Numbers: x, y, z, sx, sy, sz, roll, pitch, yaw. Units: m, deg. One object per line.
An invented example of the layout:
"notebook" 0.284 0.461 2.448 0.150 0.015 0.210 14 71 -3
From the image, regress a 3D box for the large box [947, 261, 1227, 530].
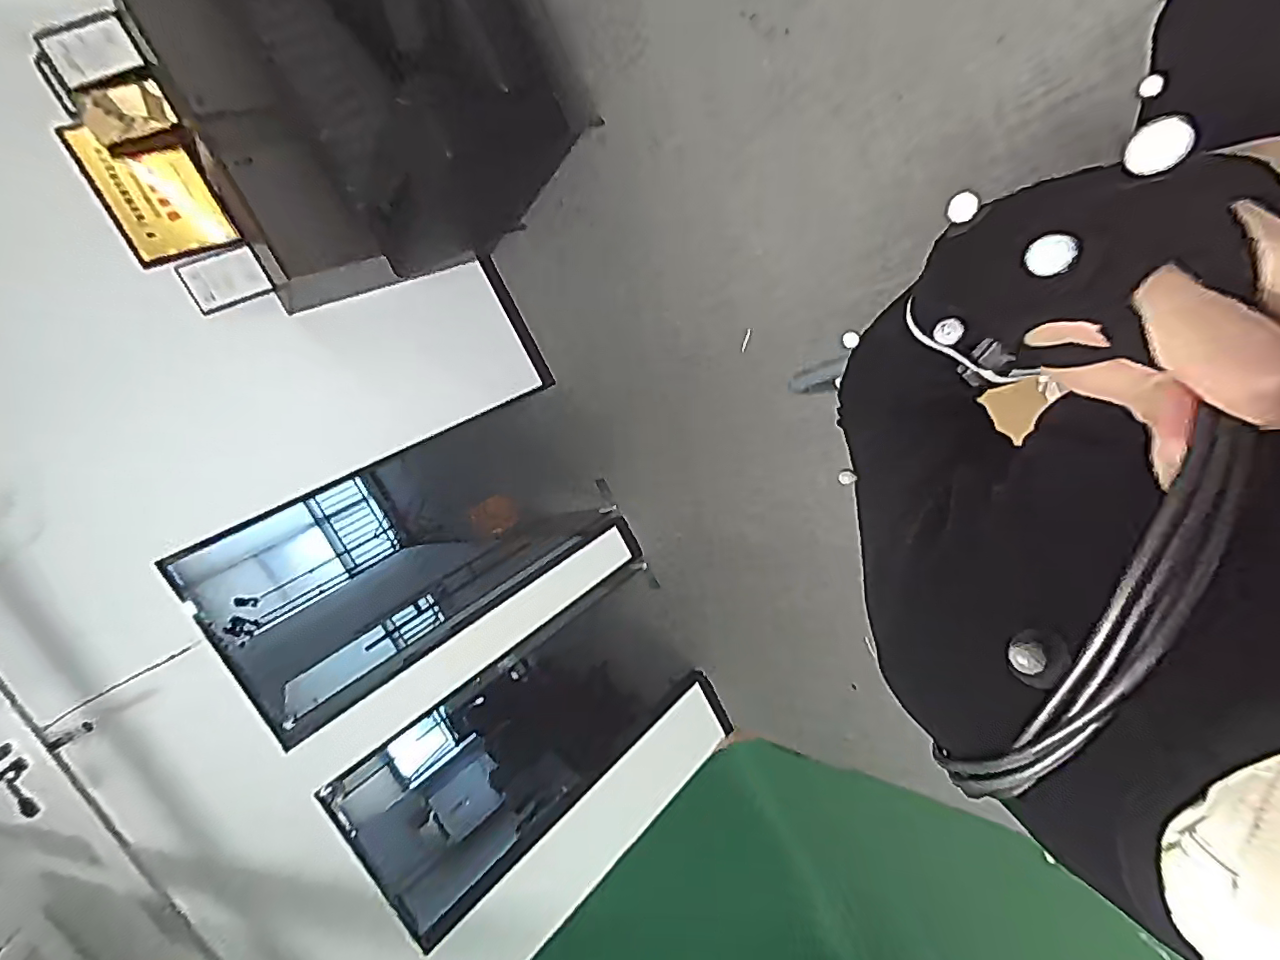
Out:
"large box" 0.903 -0.157 1.093 0.320 0.320 0.408 -14 106 56
